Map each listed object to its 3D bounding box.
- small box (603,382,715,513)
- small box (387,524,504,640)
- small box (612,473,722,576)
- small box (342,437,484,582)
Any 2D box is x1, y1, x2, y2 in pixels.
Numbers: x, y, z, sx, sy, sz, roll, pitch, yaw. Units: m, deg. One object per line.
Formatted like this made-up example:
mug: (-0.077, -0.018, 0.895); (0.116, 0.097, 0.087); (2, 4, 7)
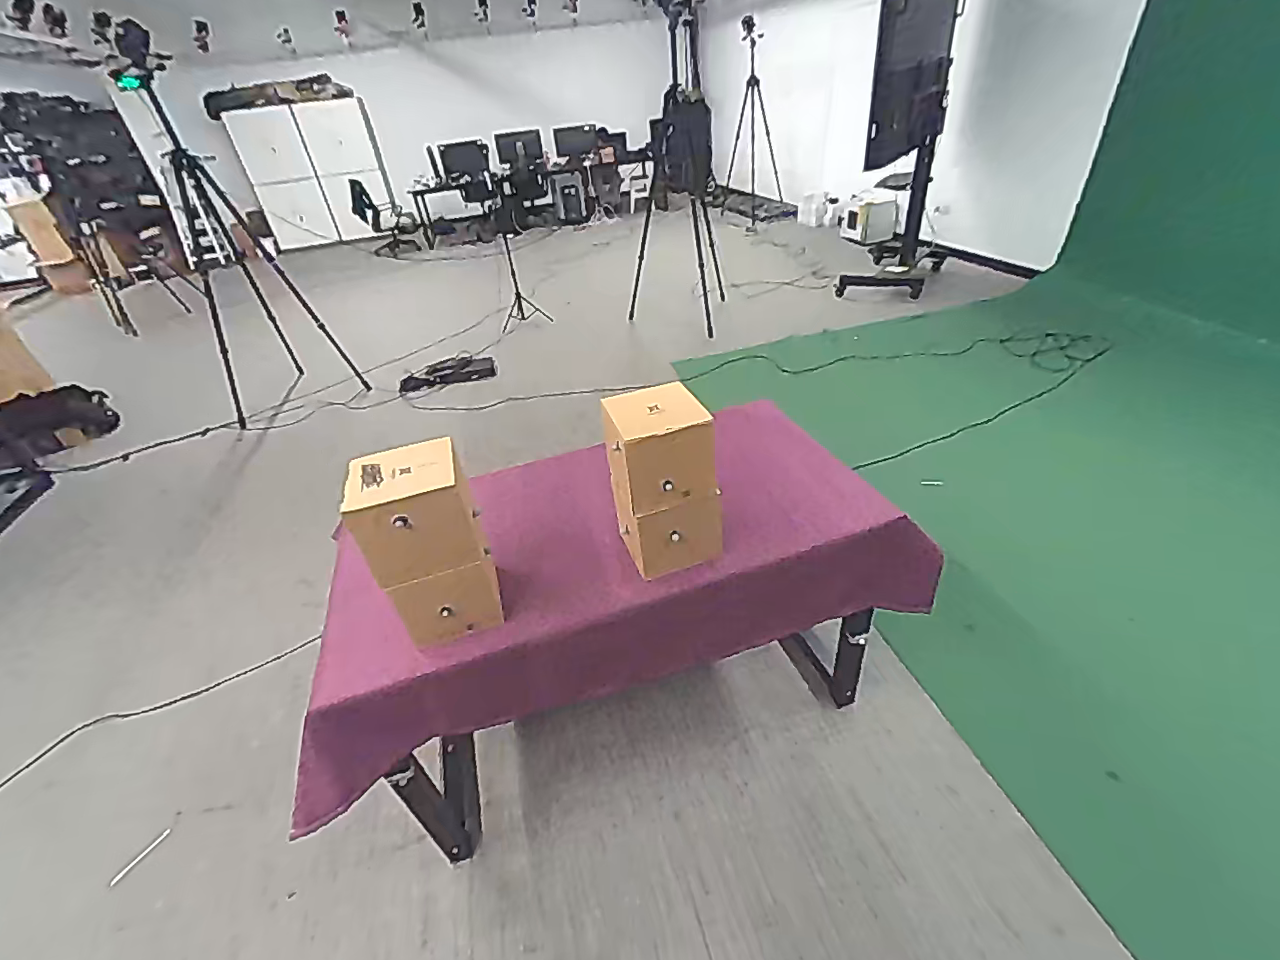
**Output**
small box: (0.035, -0.064, 1.029); (0.168, 0.176, 0.179); (-15, 37, -11)
small box: (-0.368, 0.183, 1.040); (0.168, 0.176, 0.179); (-15, 36, -11)
small box: (0.058, 0.071, 1.119); (0.179, 0.176, 0.168); (-17, 37, -11)
small box: (-0.386, 0.051, 0.944); (0.179, 0.176, 0.168); (-15, 36, -12)
